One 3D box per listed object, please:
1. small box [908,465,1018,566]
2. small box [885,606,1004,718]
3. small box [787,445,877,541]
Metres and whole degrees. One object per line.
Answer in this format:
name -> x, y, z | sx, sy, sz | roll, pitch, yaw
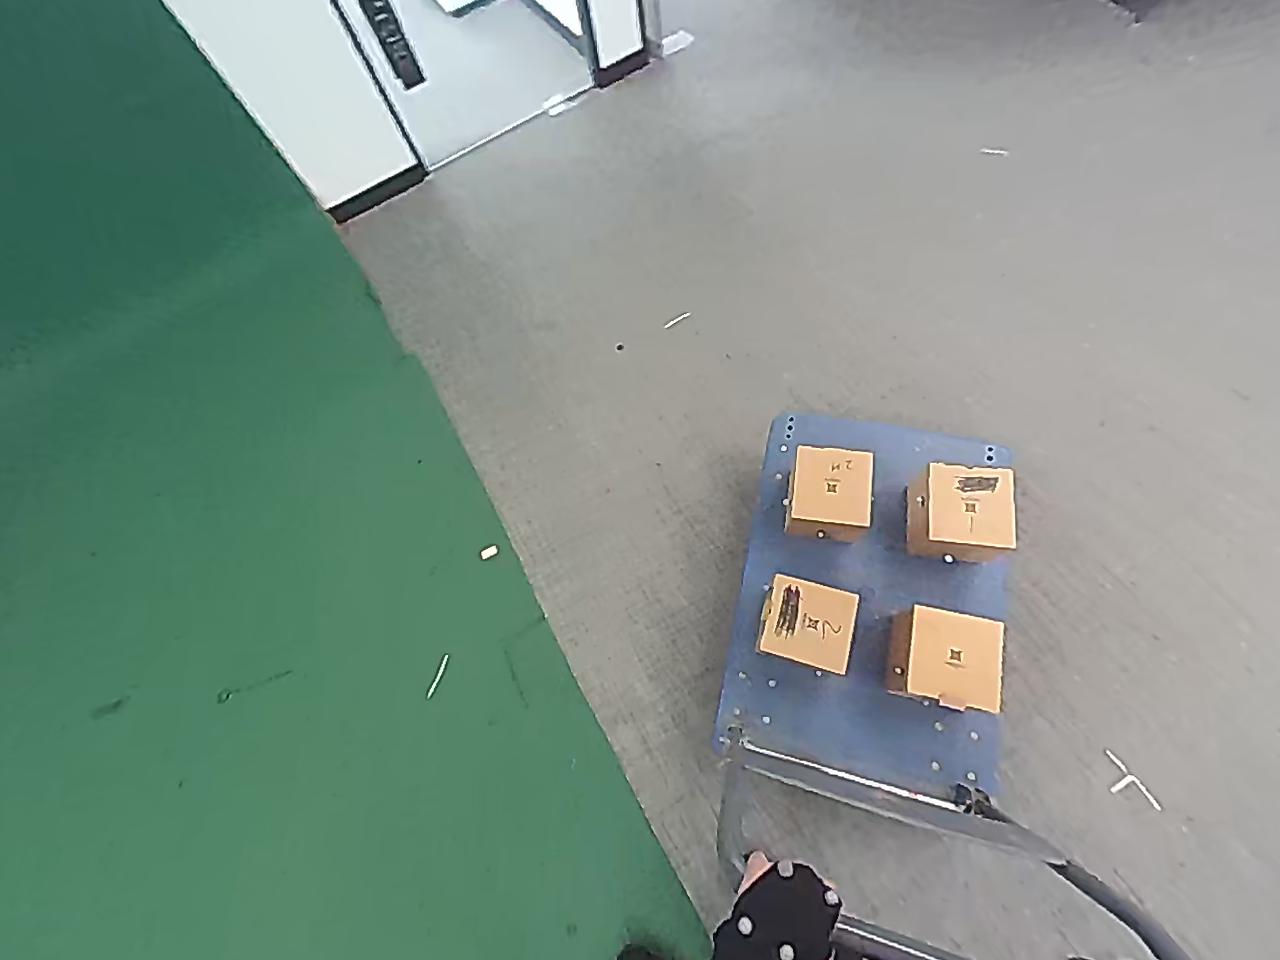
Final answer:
small box -> 0.713, 0.083, 1.208 | 0.168, 0.176, 0.179 | 7, 74, 12
small box -> 0.625, 0.375, 1.125 | 0.168, 0.176, 0.179 | 11, 74, 13
small box -> 0.444, 0.037, 1.269 | 0.168, 0.176, 0.179 | 8, 73, 11
